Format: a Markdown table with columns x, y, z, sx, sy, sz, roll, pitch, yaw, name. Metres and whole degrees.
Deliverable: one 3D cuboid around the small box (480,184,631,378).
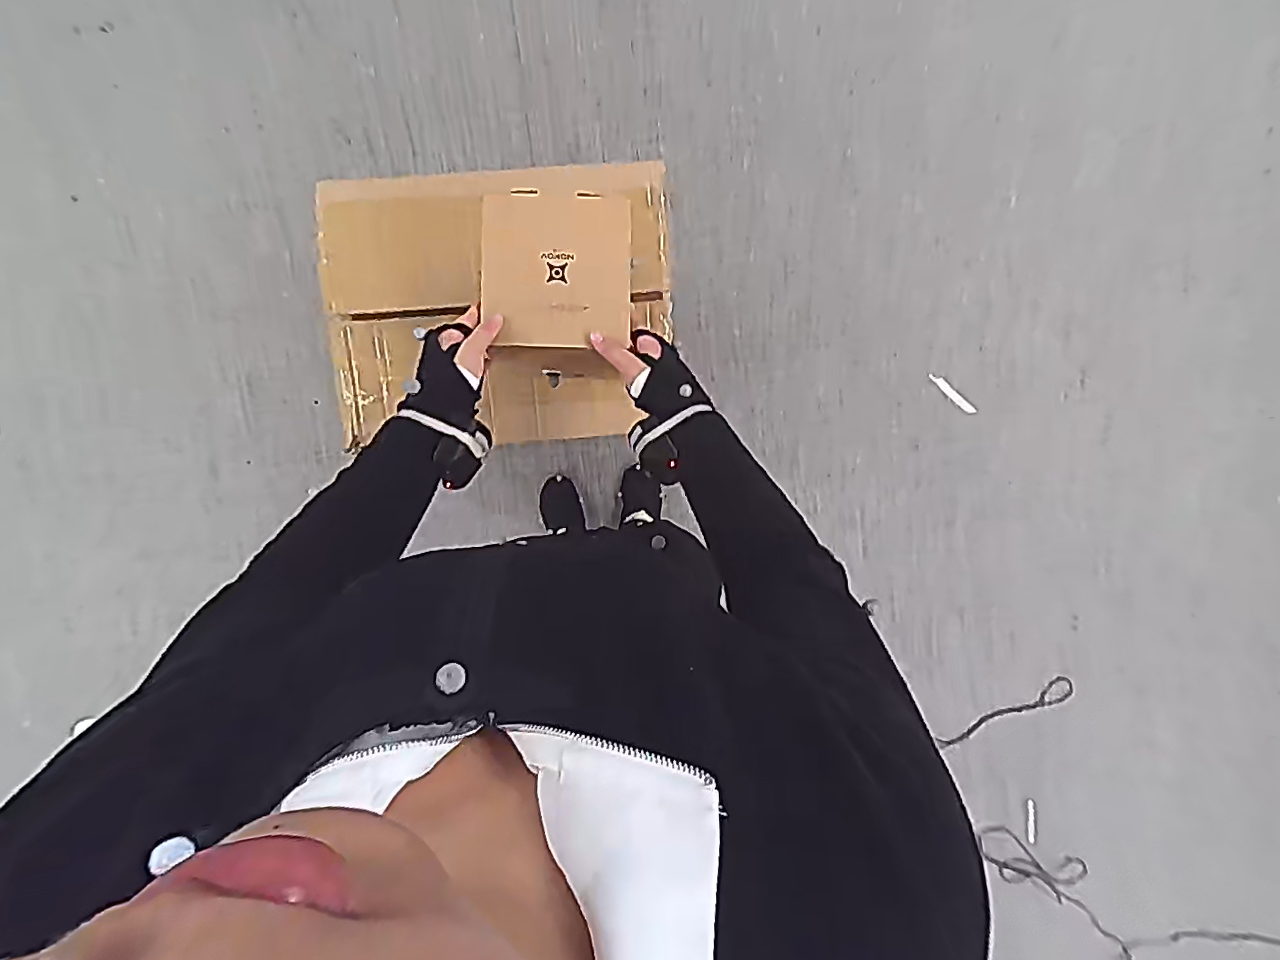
| x | y | z | sx | sy | sz | roll | pitch | yaw | name |
| --- | --- | --- | --- | --- | --- | --- | --- | --- | --- |
| -0.099 | -0.232 | 0.672 | 0.168 | 0.176 | 0.179 | 0 | 89 | -5 | small box |
